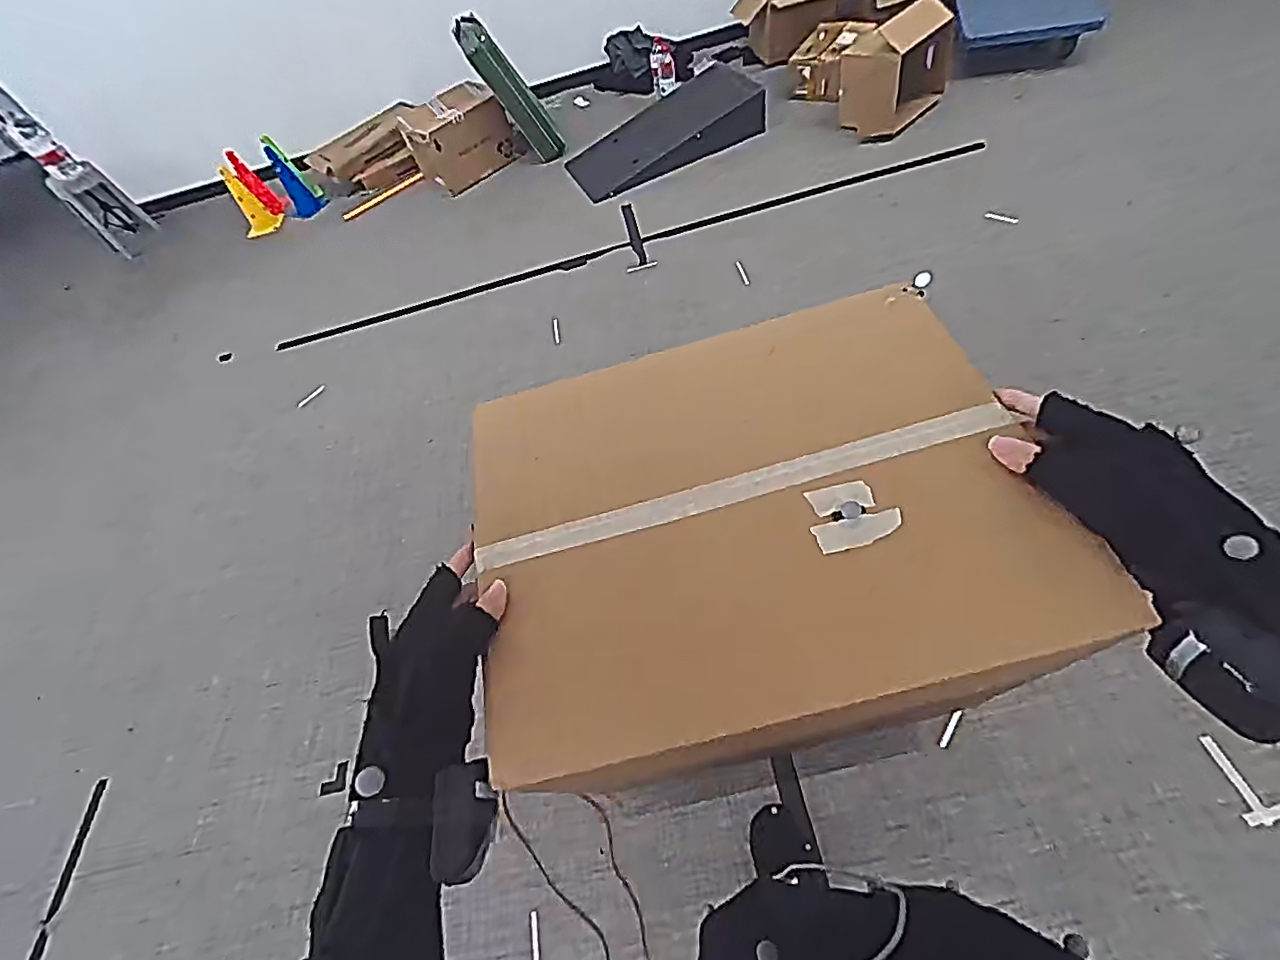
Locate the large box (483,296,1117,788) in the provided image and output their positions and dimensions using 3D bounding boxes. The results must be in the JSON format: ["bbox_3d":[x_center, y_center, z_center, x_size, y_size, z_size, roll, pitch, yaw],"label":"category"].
[{"bbox_3d":[0.100,0.087,0.543,0.408,0.320,0.320,-16,59,2],"label":"large box"}]
